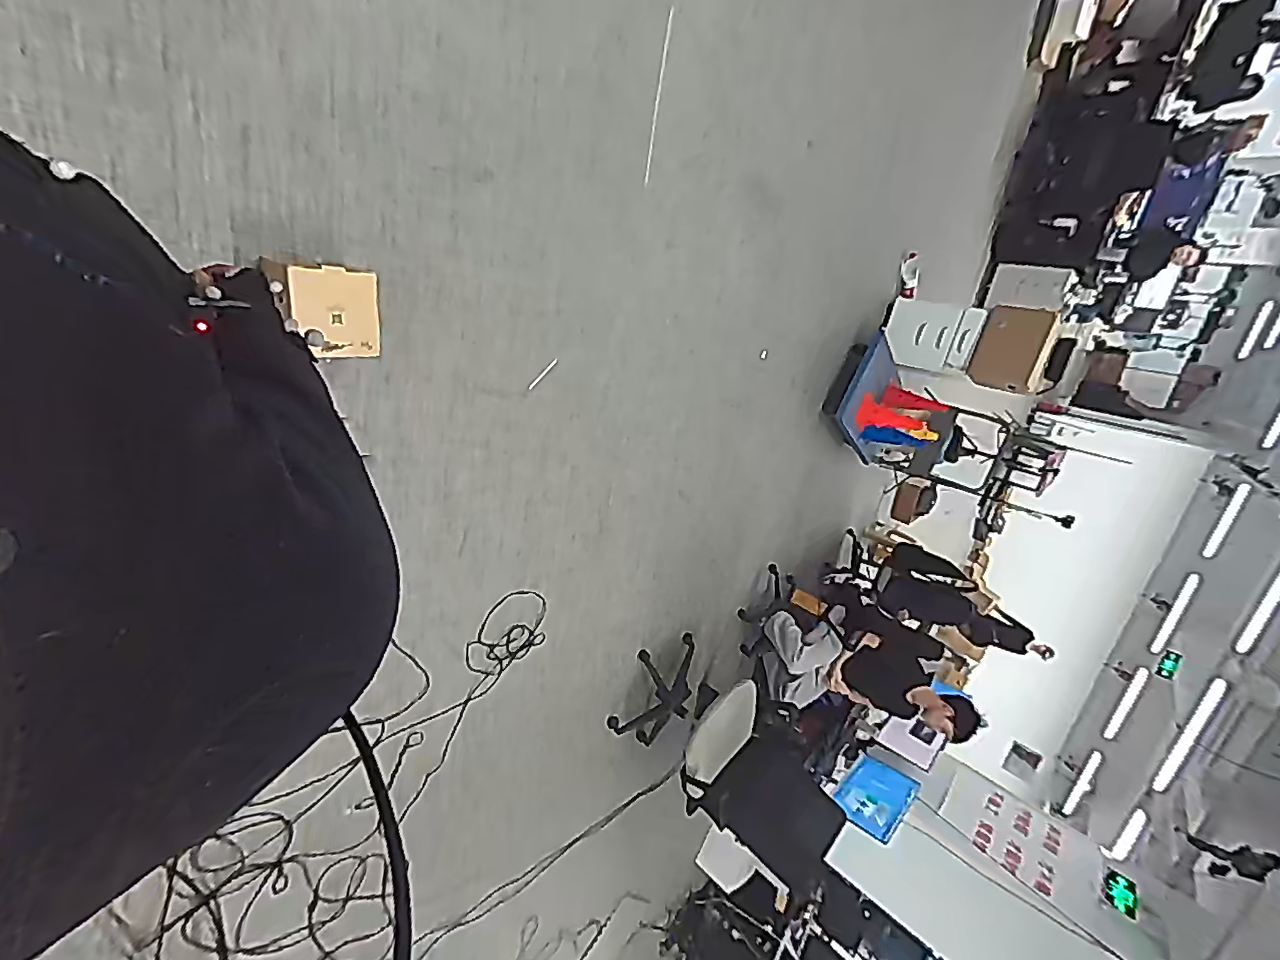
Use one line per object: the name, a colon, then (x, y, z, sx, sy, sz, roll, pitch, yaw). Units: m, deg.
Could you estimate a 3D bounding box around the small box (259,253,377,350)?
small box: (-0.676, -0.374, 1.138, 0.168, 0.176, 0.179, -15, 120, -45)
